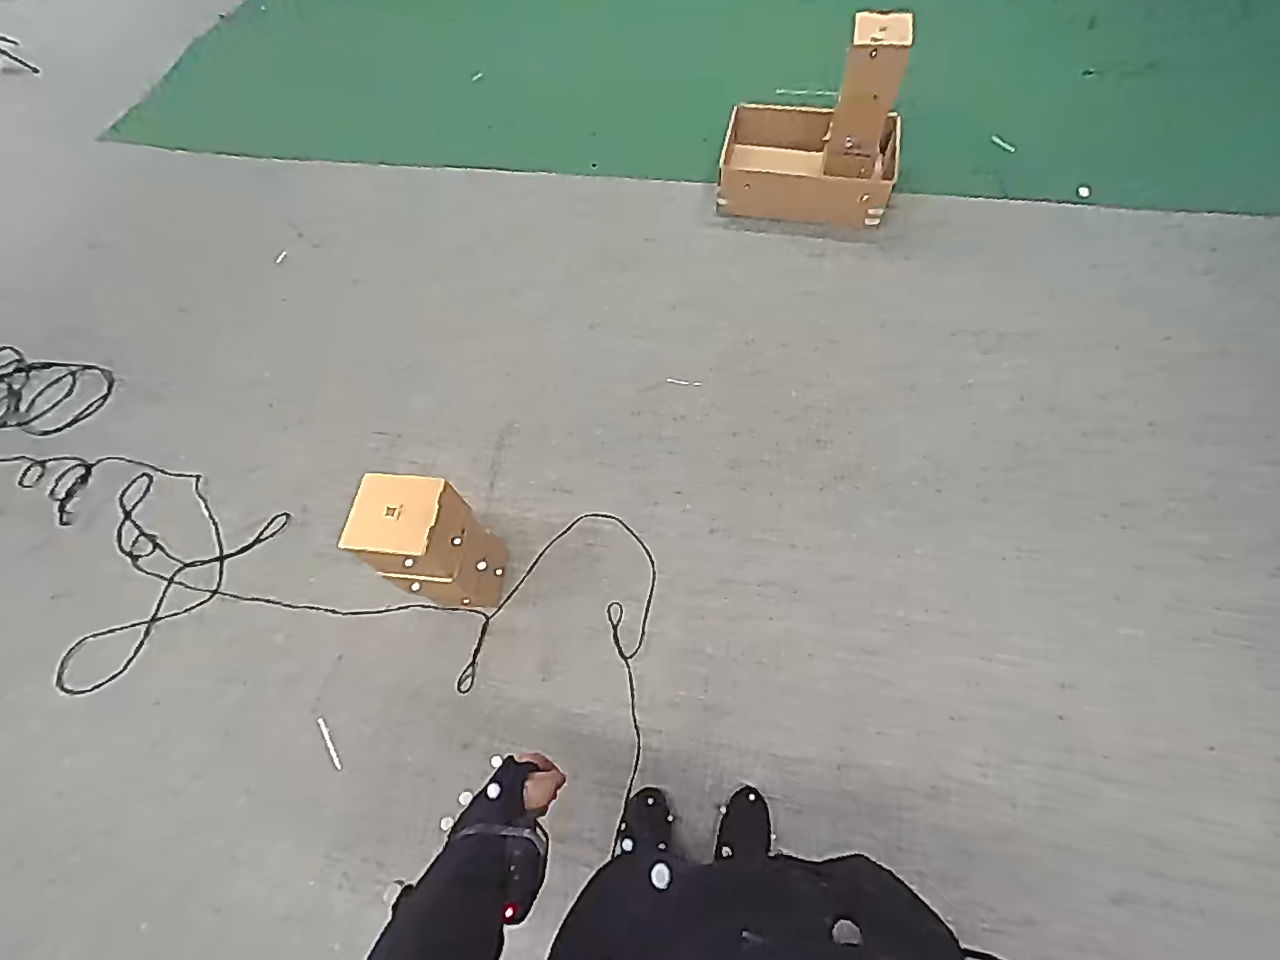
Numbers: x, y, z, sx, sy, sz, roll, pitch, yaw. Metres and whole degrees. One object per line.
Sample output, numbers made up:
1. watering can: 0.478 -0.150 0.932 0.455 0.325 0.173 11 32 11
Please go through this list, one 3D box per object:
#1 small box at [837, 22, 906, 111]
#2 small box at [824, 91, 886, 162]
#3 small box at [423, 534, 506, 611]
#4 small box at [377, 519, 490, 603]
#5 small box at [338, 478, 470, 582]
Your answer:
1. small box: 0.727 -1.306 1.709 0.168 0.176 0.179 8 64 10
2. small box: 0.740 -1.234 1.856 0.168 0.176 0.179 11 66 11
3. small box: -0.469 0.247 1.436 0.179 0.176 0.168 1 62 6
4. small box: -0.479 0.188 1.283 0.179 0.176 0.168 5 64 6
5. small box: -0.486 0.109 1.140 0.179 0.176 0.168 4 63 5
